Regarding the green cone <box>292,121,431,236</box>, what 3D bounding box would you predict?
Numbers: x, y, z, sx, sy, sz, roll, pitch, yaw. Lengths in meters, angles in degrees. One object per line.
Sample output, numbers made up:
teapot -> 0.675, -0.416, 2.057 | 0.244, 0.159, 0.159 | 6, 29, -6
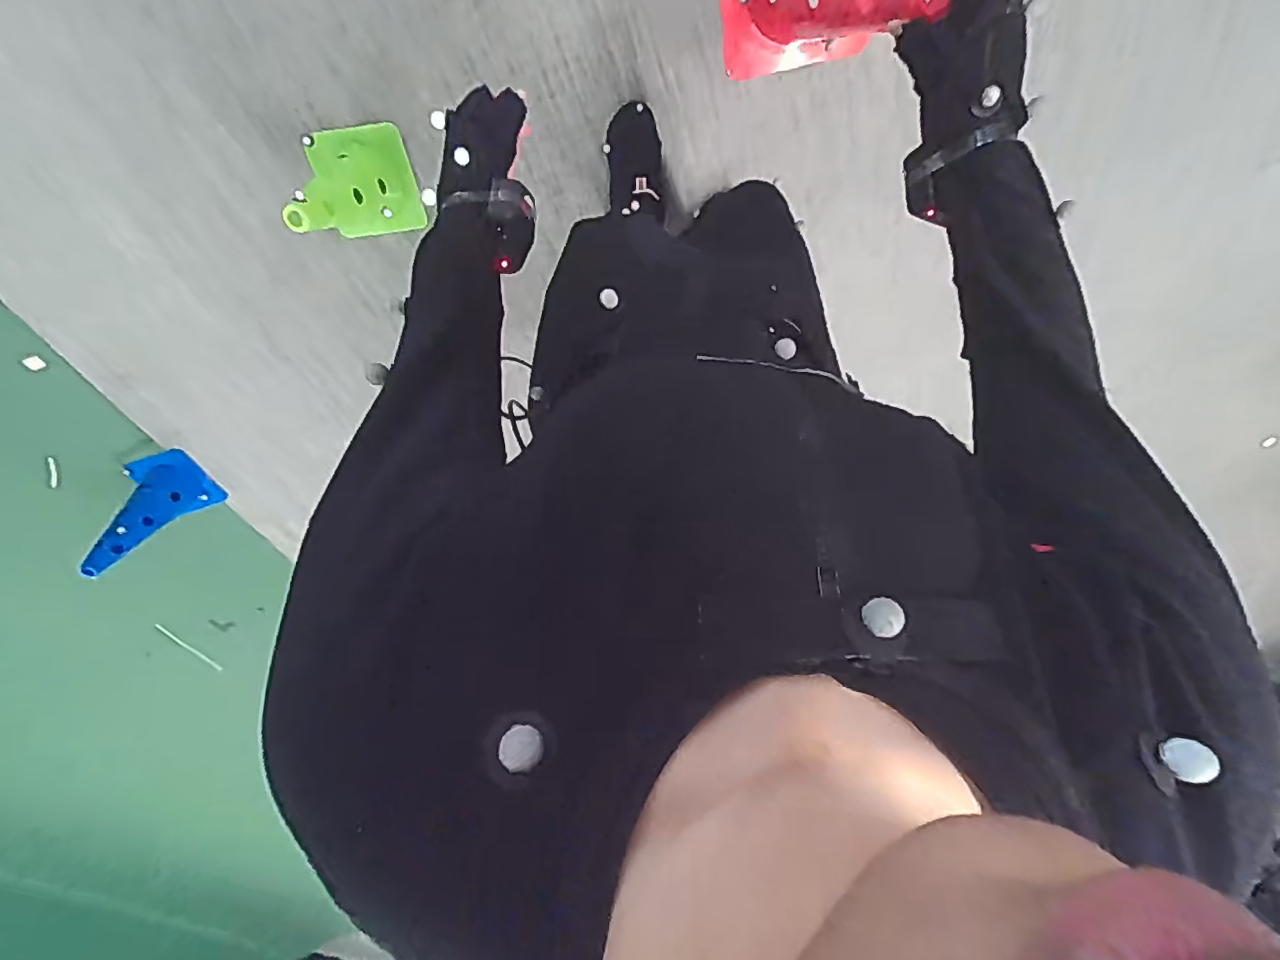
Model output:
green cone -> -0.561, -0.536, 1.021 | 0.202, 0.368, 0.200 | -8, 127, 1
